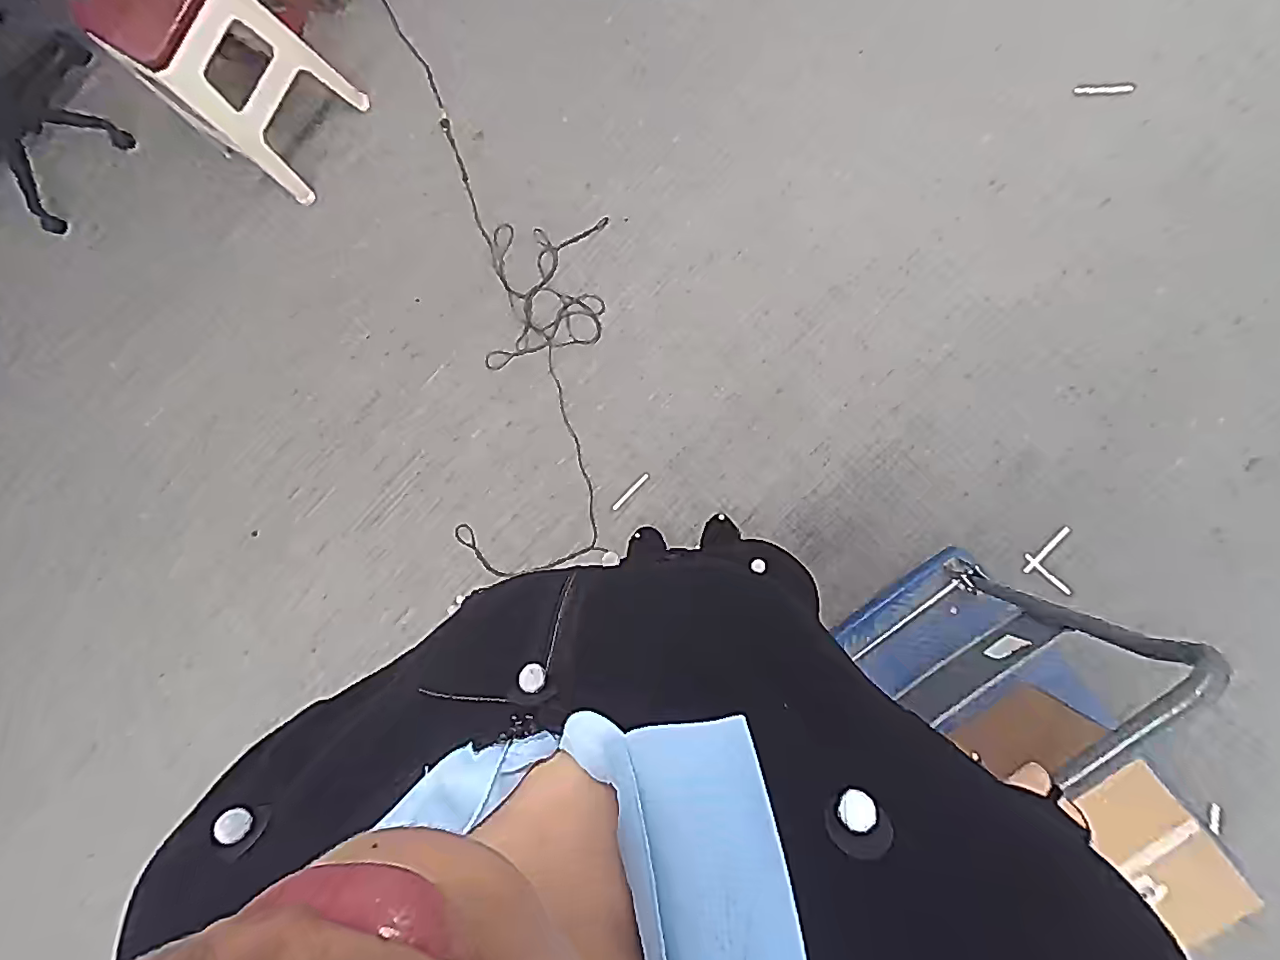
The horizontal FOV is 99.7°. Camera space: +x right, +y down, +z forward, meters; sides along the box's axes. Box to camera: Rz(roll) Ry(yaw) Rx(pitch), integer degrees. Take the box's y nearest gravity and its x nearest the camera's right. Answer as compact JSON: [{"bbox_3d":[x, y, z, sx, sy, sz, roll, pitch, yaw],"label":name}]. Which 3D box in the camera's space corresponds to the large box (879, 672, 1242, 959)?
[{"bbox_3d":[0.772,0.660,1.071,0.408,0.320,0.320,-39,84,4],"label":"large box"}]
